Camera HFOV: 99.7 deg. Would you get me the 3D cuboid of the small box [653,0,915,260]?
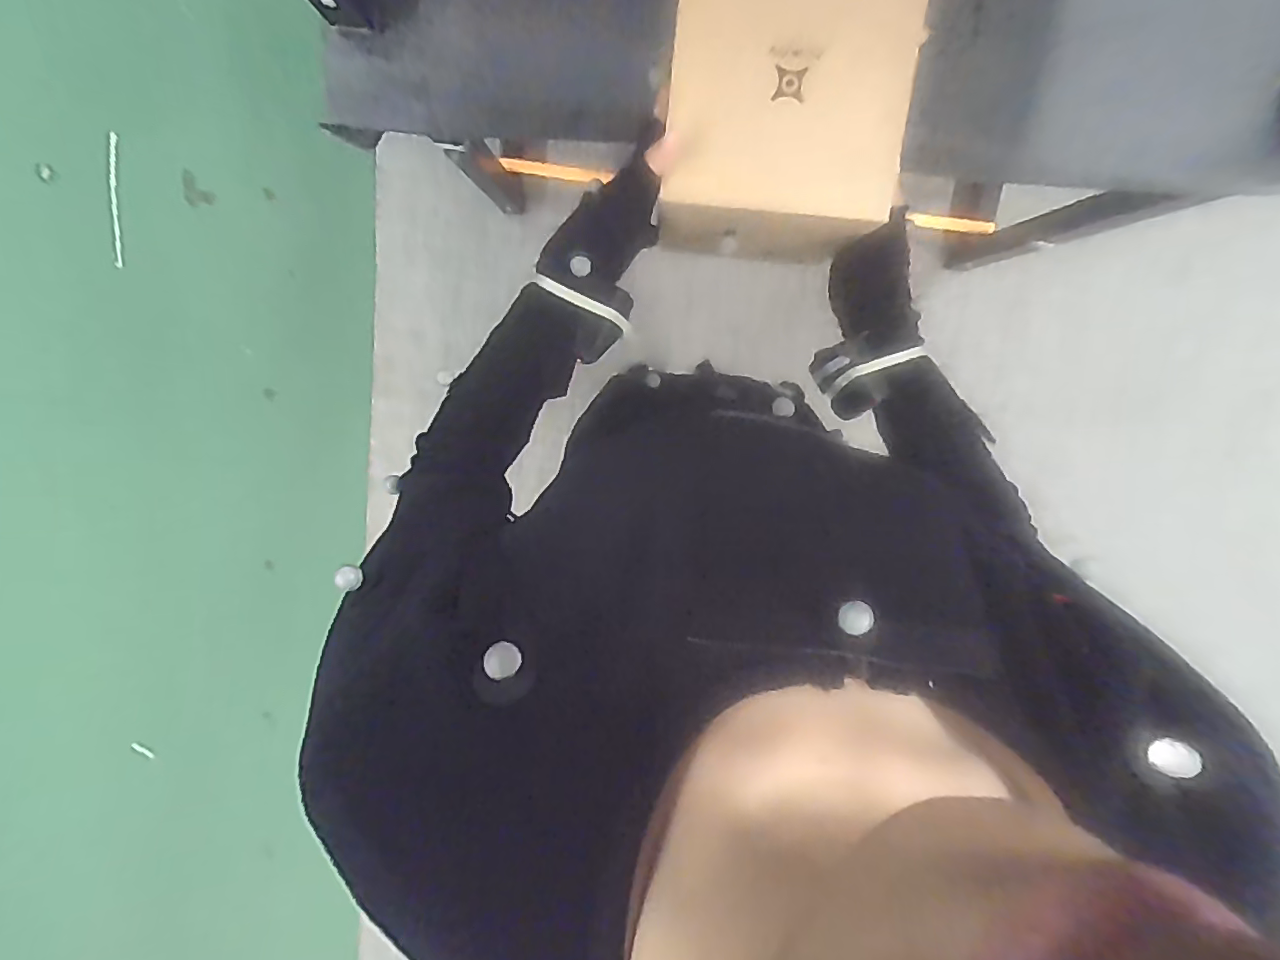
[{"bbox_3d":[0.103,-0.296,0.454,0.168,0.176,0.179,6,99,1],"label":"small box"}]
